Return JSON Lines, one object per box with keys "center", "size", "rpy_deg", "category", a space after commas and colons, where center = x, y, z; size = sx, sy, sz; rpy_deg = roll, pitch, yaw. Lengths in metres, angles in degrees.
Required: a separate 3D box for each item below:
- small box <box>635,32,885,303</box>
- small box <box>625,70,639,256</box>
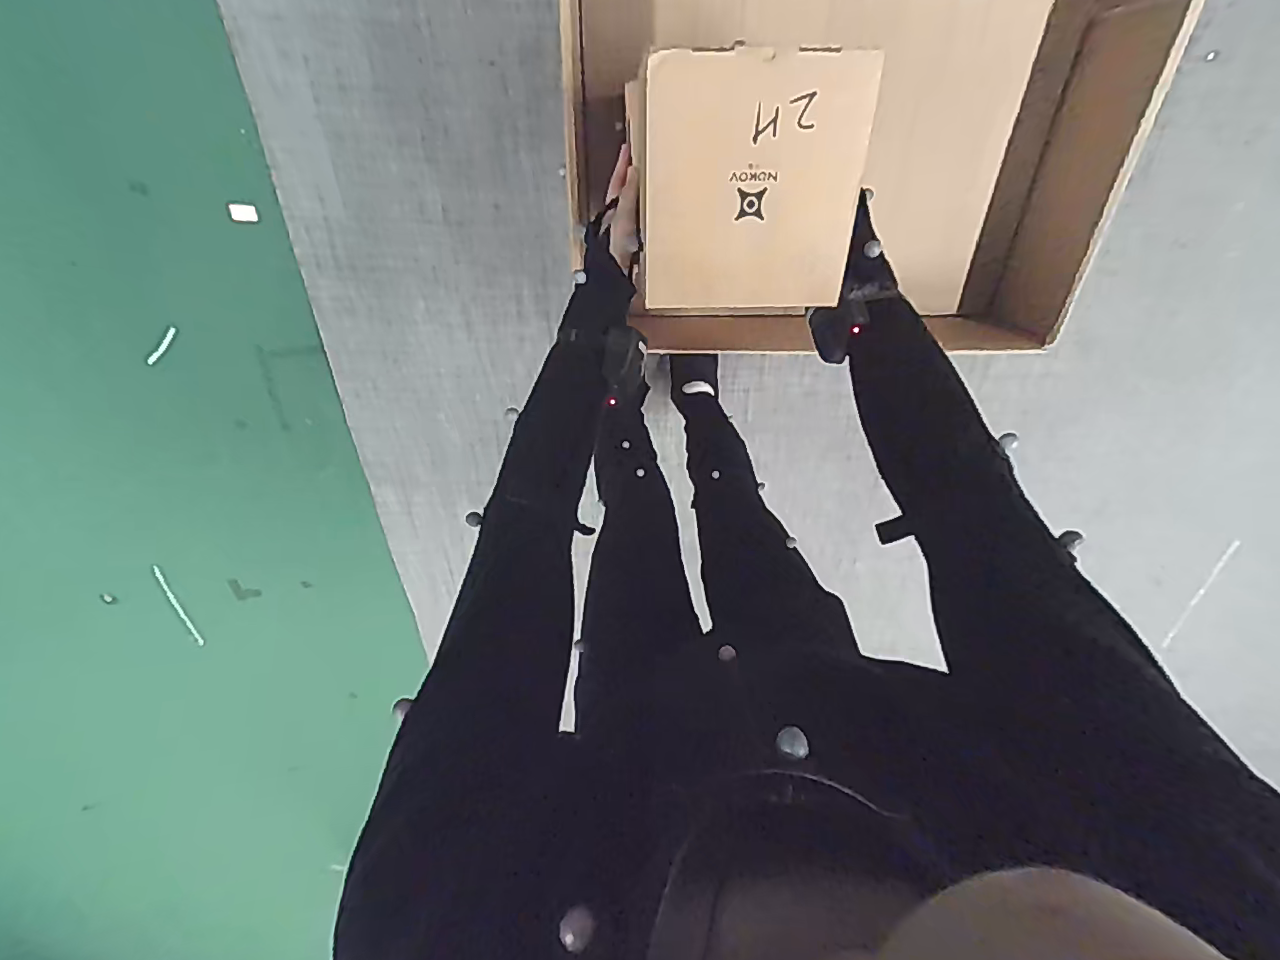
{"center": [0.081, -0.264, 0.471], "size": [0.168, 0.176, 0.179], "rpy_deg": [-1, 121, -2], "category": "small box"}
{"center": [0.075, -0.352, 0.610], "size": [0.179, 0.176, 0.168], "rpy_deg": [-3, 121, 0], "category": "small box"}
